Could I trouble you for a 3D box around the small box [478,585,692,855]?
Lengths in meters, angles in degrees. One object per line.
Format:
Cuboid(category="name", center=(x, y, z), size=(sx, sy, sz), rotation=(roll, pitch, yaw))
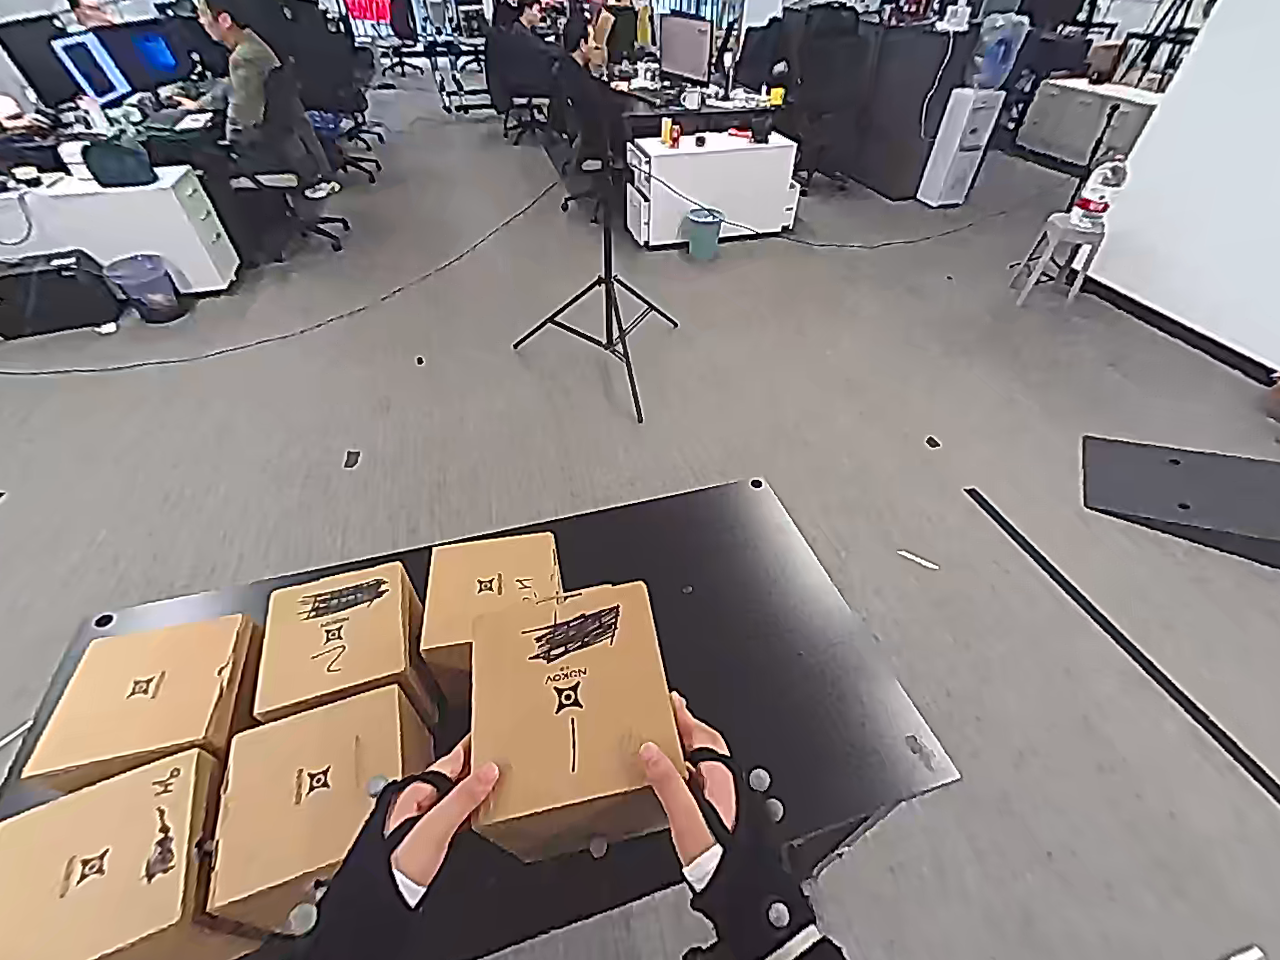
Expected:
Cuboid(category="small box", center=(-0.049, 0.232, 0.523), size=(0.168, 0.176, 0.179), rotation=(-12, 48, -3))
